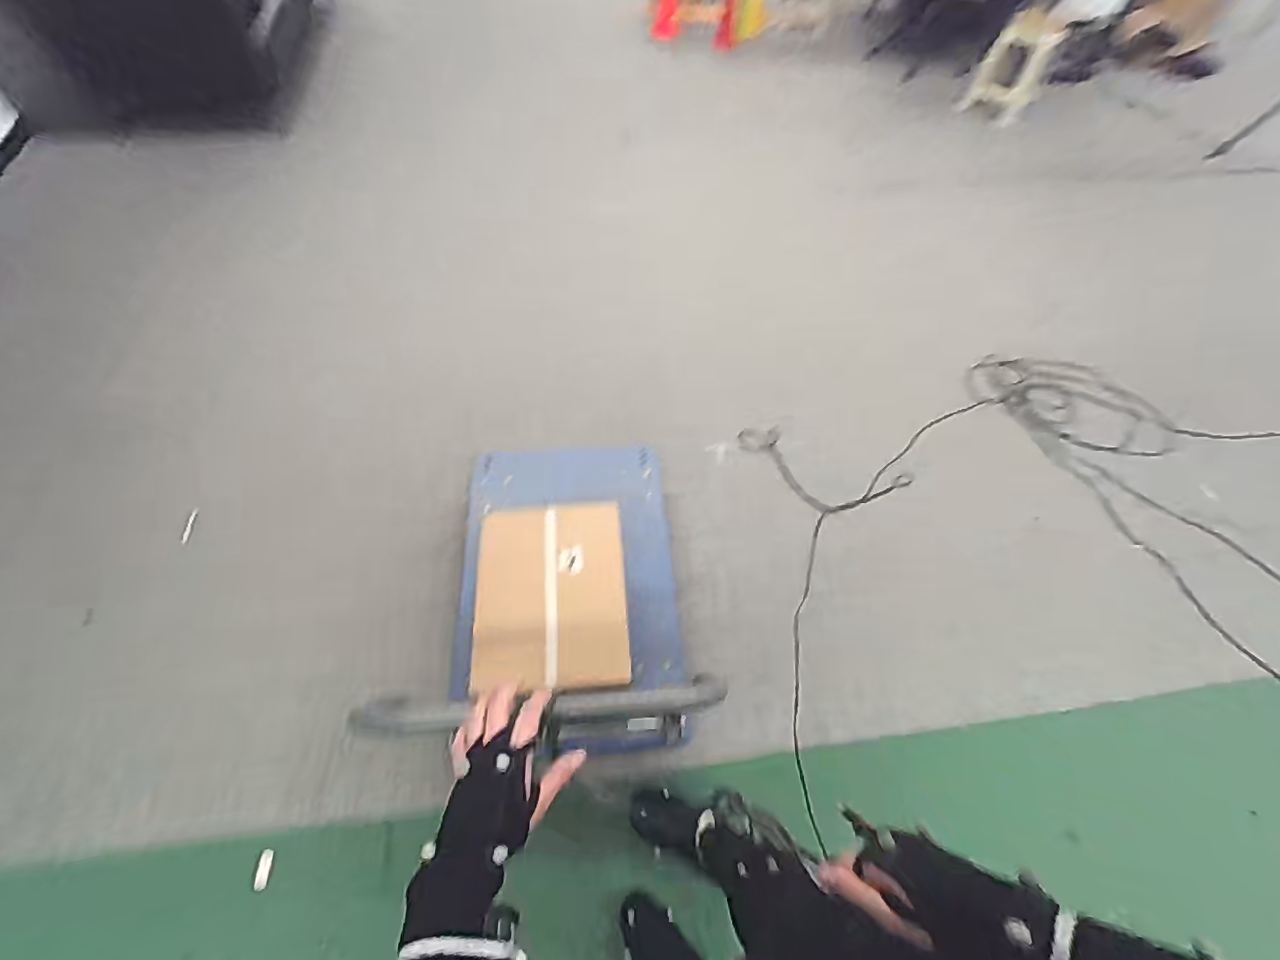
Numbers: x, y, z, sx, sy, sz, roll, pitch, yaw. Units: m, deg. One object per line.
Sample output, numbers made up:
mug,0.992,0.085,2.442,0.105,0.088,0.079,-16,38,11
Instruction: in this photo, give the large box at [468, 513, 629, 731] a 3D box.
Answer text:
large box,-0.200,0.334,1.265,0.320,0.320,0.408,-3,57,-5
